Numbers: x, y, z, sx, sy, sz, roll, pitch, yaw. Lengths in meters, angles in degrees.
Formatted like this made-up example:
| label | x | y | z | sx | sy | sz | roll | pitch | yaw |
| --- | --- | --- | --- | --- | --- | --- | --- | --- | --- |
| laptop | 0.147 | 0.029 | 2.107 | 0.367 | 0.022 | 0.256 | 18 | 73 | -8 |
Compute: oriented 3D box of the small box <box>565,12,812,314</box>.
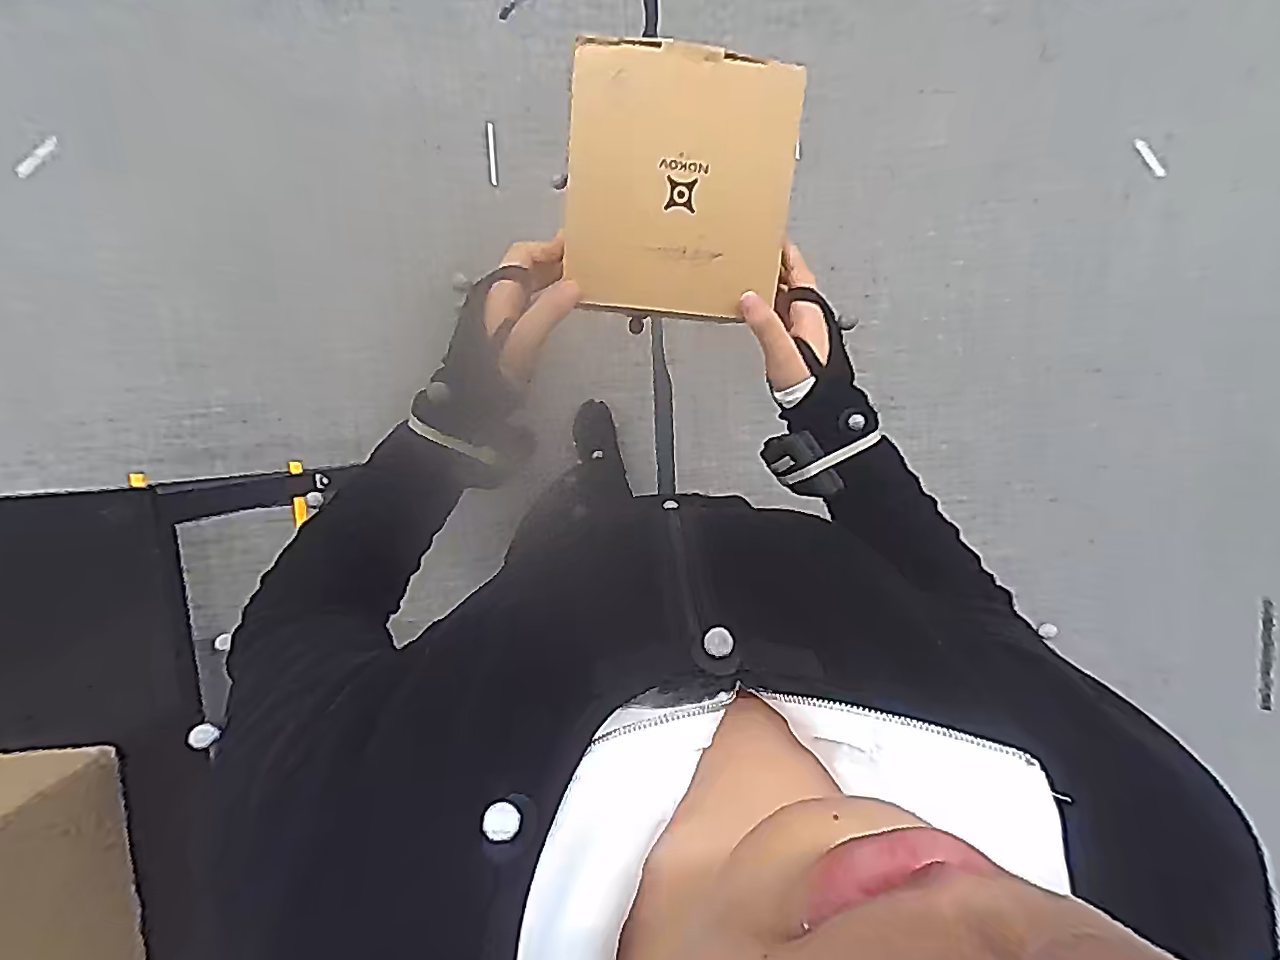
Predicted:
| label | x | y | z | sx | sy | sz | roll | pitch | yaw |
| --- | --- | --- | --- | --- | --- | --- | --- | --- | --- |
| small box | 0.023 | -0.241 | 0.462 | 0.168 | 0.176 | 0.179 | 3 | 107 | -7 |
